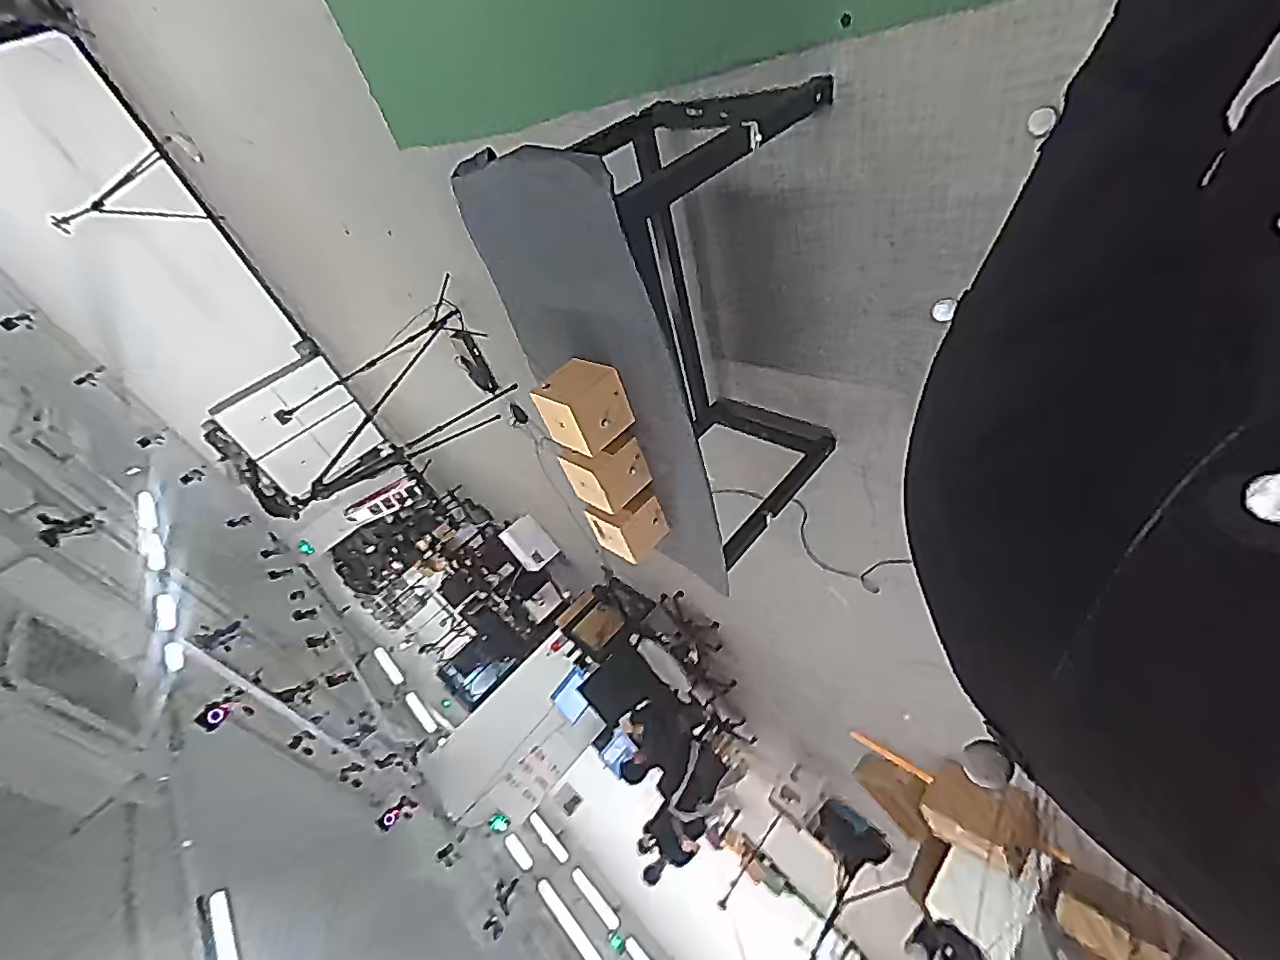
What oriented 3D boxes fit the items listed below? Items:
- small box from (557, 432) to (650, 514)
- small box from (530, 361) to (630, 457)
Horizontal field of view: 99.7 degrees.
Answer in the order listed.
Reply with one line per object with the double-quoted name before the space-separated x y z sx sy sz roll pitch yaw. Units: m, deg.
"small box" -0.101 -0.035 1.559 0.179 0.176 0.168 23 146 43
"small box" -0.145 -0.191 1.404 0.179 0.176 0.168 24 147 43
